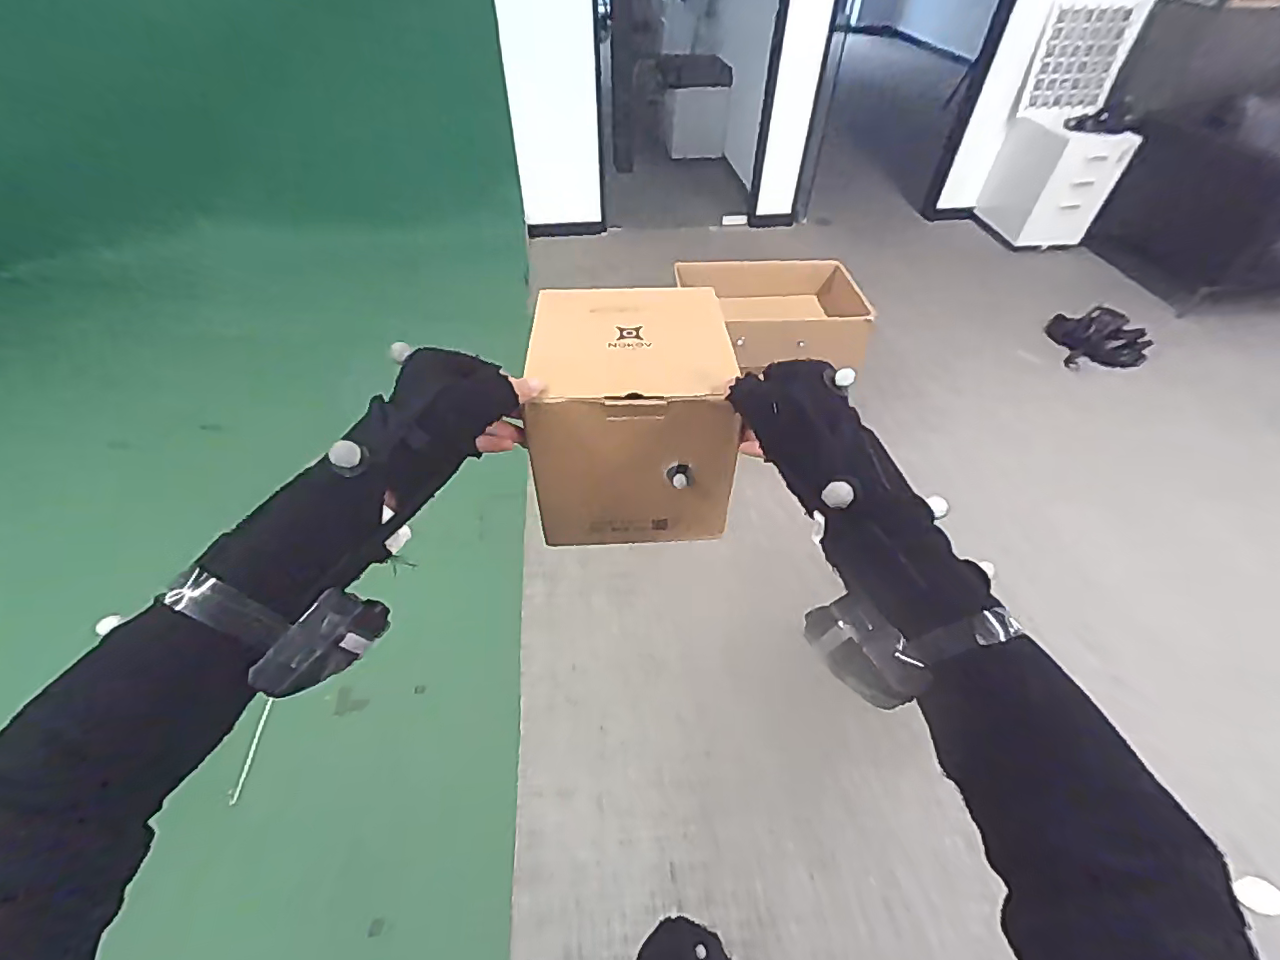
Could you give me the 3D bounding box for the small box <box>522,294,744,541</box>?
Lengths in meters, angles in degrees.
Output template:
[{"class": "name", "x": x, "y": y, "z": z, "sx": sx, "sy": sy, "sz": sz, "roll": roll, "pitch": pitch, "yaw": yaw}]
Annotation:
[{"class": "small box", "x": -0.007, "y": -0.056, "z": 0.505, "sx": 0.168, "sy": 0.176, "sz": 0.179, "roll": -1, "pitch": 42, "yaw": -3}]
